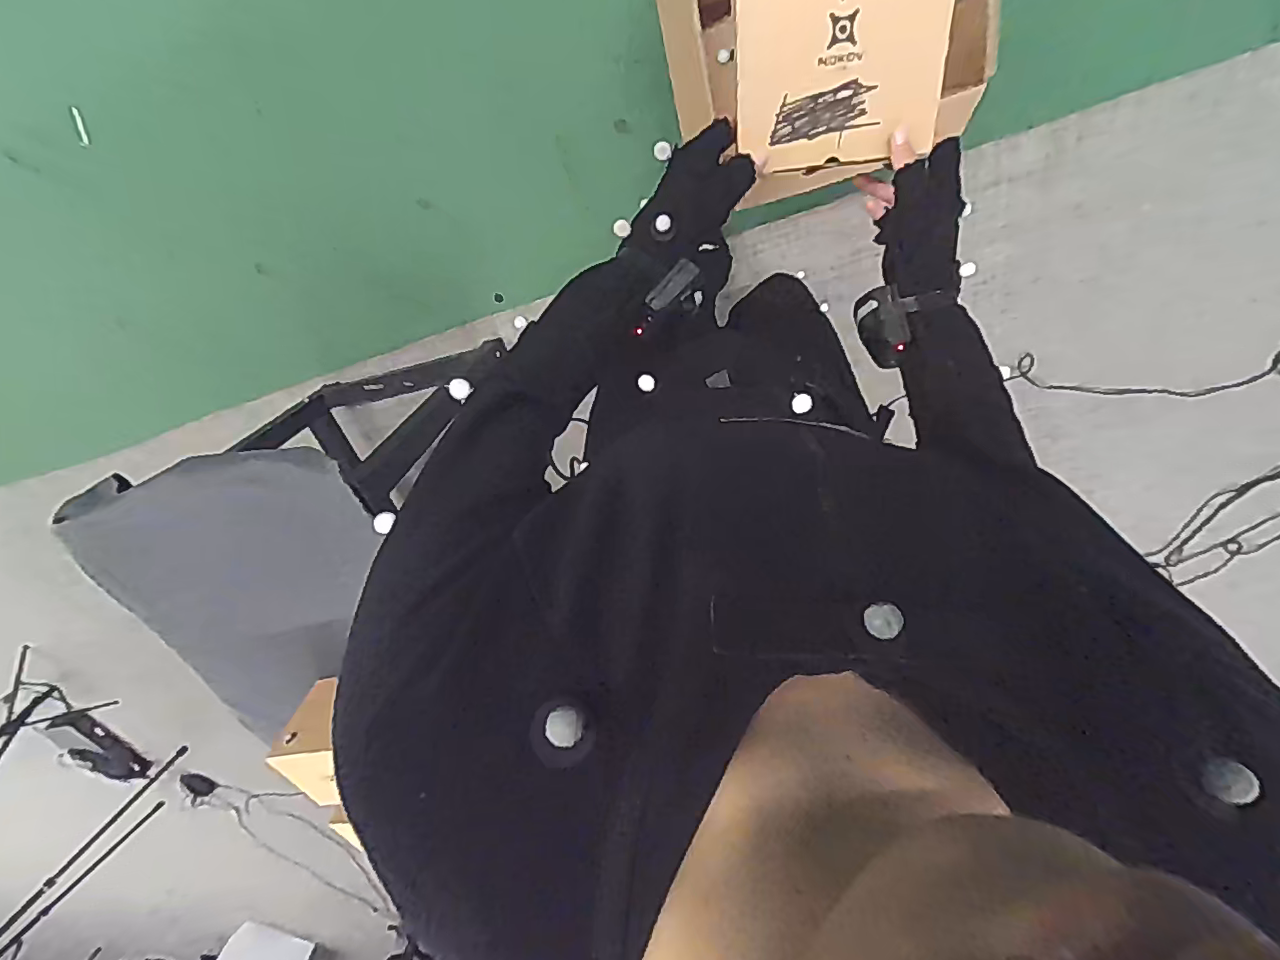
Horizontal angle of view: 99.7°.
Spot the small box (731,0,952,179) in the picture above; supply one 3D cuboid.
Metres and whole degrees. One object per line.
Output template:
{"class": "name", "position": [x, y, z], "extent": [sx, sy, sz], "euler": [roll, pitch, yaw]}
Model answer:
{"class": "small box", "position": [0.169, -0.393, 0.499], "extent": [0.168, 0.176, 0.179], "euler": [-2, 123, 10]}

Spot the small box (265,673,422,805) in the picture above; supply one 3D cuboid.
{"class": "small box", "position": [-0.548, 0.491, 1.035], "extent": [0.179, 0.176, 0.168], "euler": [-13, 120, 15]}
